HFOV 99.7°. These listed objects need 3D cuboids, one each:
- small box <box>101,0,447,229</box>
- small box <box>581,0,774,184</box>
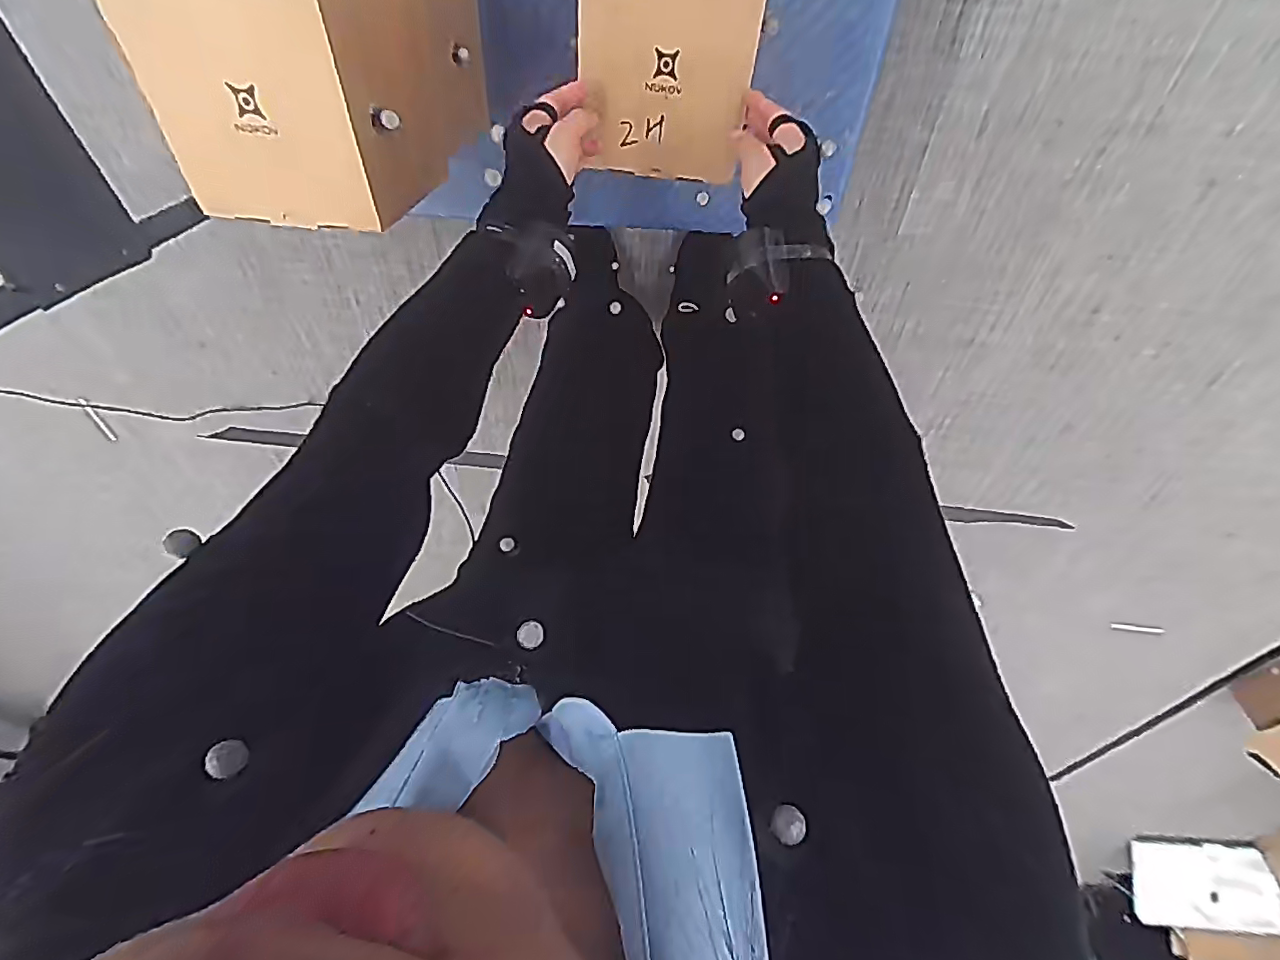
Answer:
[{"bbox_3d":[-0.287,-0.342,0.466,0.168,0.176,0.179,6,135,2],"label":"small box"},{"bbox_3d":[0.036,-0.435,0.559,0.168,0.176,0.179,8,135,1],"label":"small box"}]
